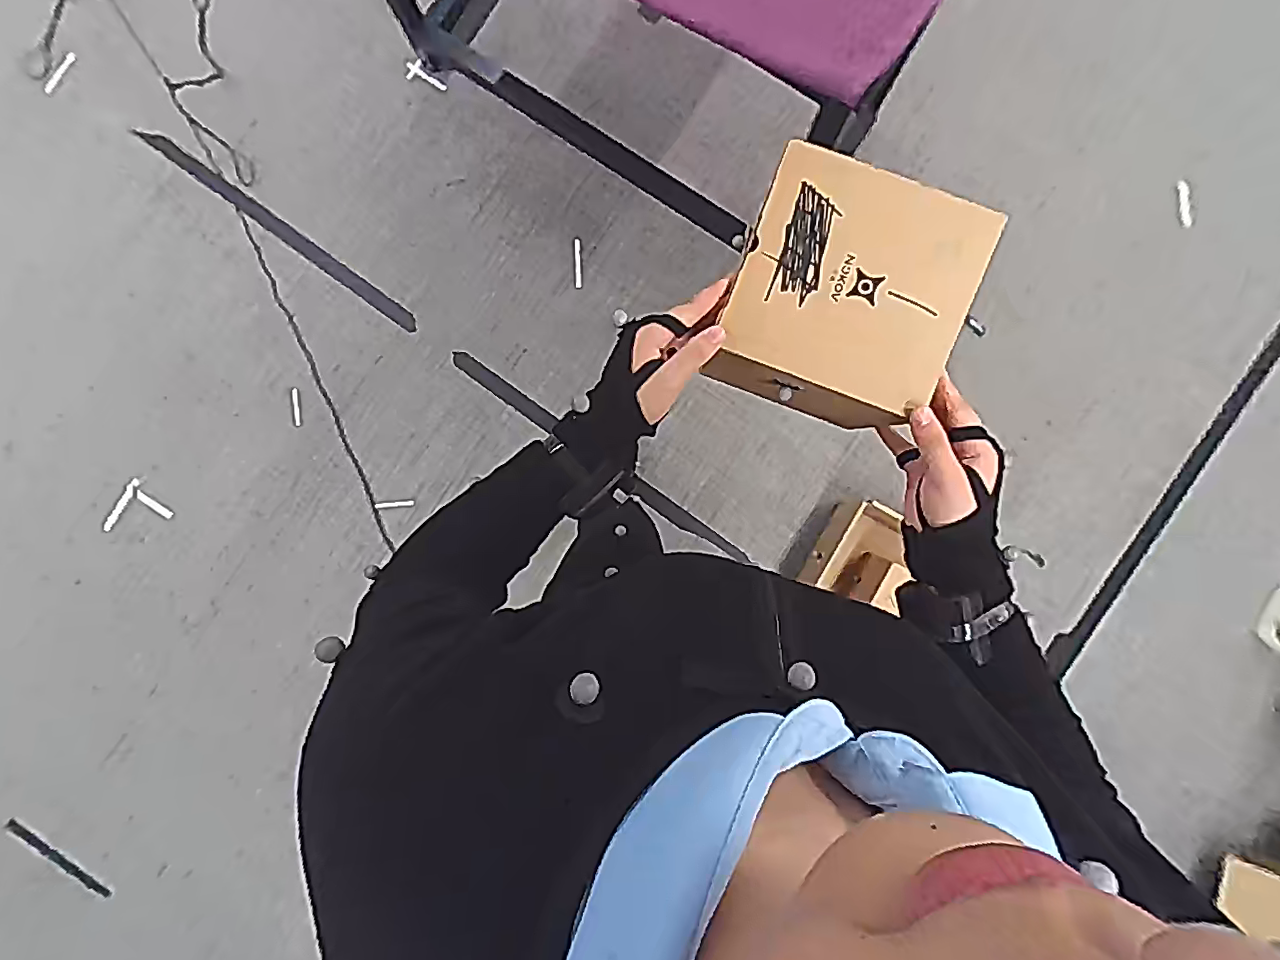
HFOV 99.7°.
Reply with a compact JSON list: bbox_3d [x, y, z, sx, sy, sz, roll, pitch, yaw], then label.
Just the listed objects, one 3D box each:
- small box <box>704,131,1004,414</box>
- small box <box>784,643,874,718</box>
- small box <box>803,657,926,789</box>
[{"bbox_3d":[0.166,-0.163,0.488,0.179,0.176,0.168,21,95,1],"label":"small box"},{"bbox_3d":[0.486,0.531,1.355,0.179,0.176,0.168,31,90,1],"label":"small box"},{"bbox_3d":[0.481,0.525,1.193,0.168,0.176,0.179,31,89,2],"label":"small box"}]
